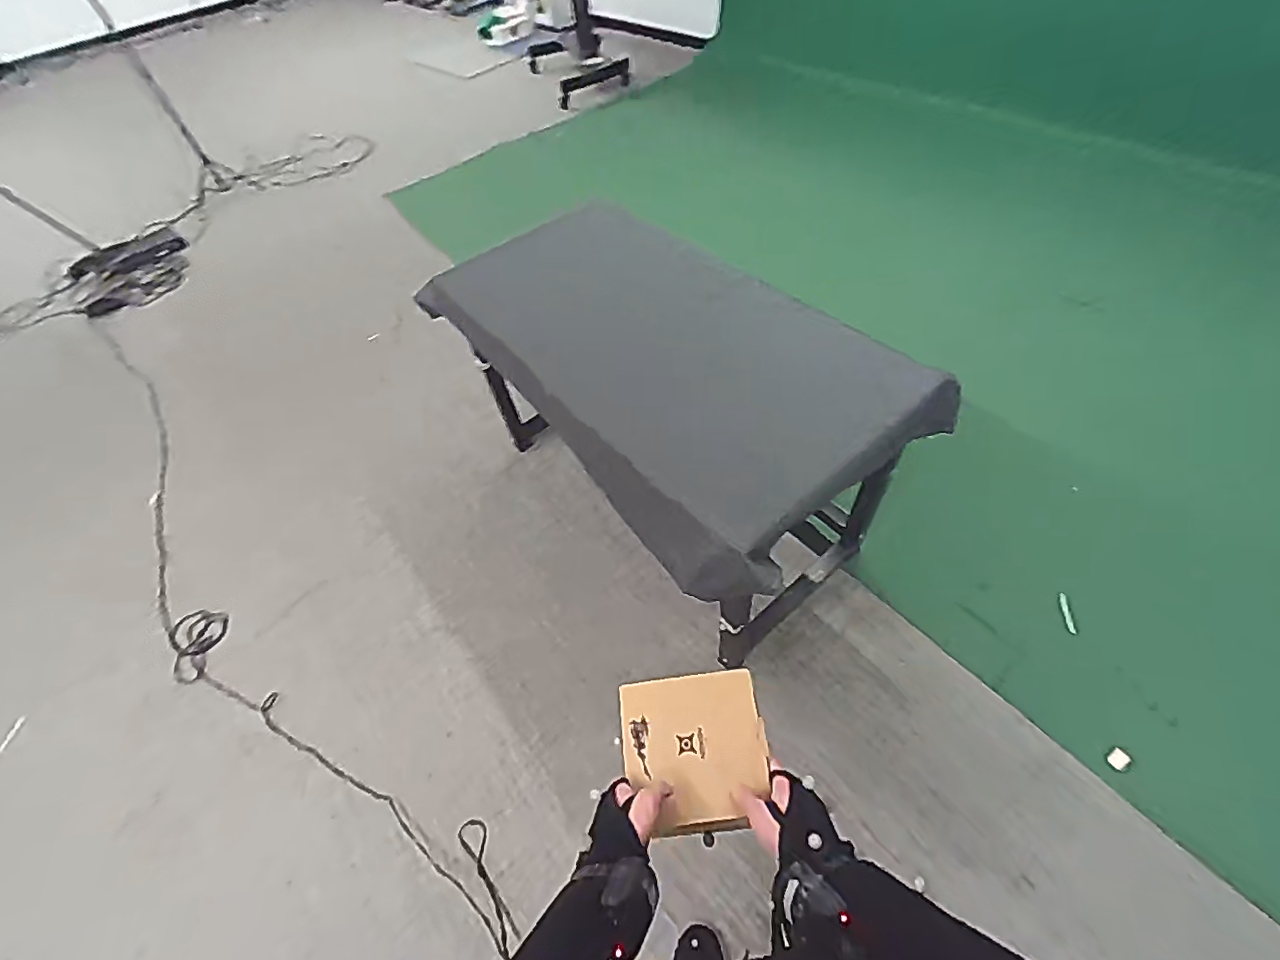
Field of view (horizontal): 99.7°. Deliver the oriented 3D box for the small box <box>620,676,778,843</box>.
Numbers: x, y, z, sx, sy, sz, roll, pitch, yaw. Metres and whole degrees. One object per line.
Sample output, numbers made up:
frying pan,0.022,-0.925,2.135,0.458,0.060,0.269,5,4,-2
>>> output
small box,0.072,0.377,0.724,0.179,0.176,0.168,-7,52,2
